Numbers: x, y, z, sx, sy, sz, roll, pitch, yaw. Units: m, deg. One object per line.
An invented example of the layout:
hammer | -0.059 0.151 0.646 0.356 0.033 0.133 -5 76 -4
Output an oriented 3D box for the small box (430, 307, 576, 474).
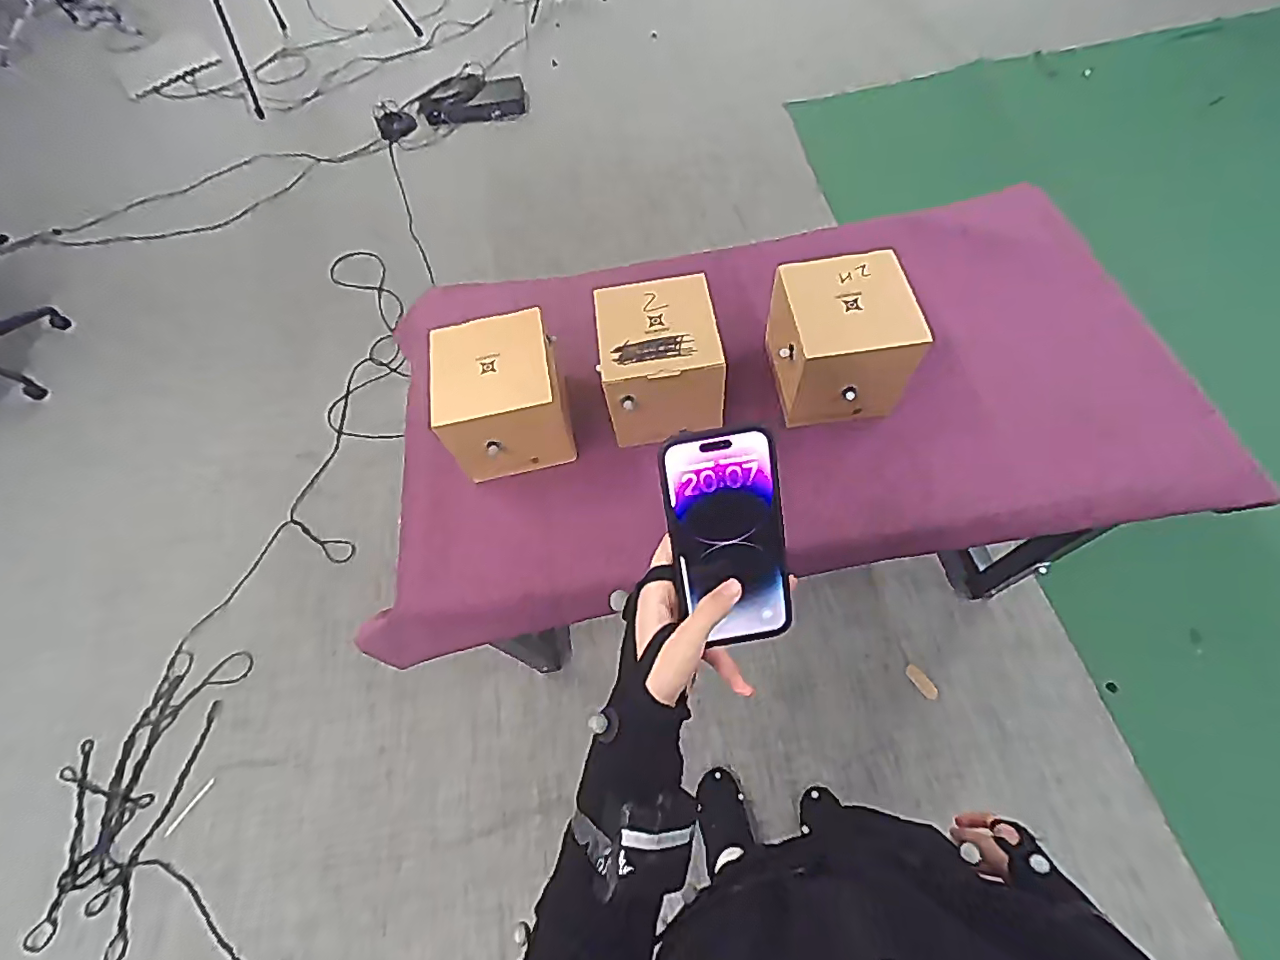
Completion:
small box | -0.200 -0.124 0.816 0.168 0.176 0.179 -12 61 0

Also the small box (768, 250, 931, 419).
small box | 0.293 -0.204 0.802 0.168 0.176 0.179 -7 62 2
